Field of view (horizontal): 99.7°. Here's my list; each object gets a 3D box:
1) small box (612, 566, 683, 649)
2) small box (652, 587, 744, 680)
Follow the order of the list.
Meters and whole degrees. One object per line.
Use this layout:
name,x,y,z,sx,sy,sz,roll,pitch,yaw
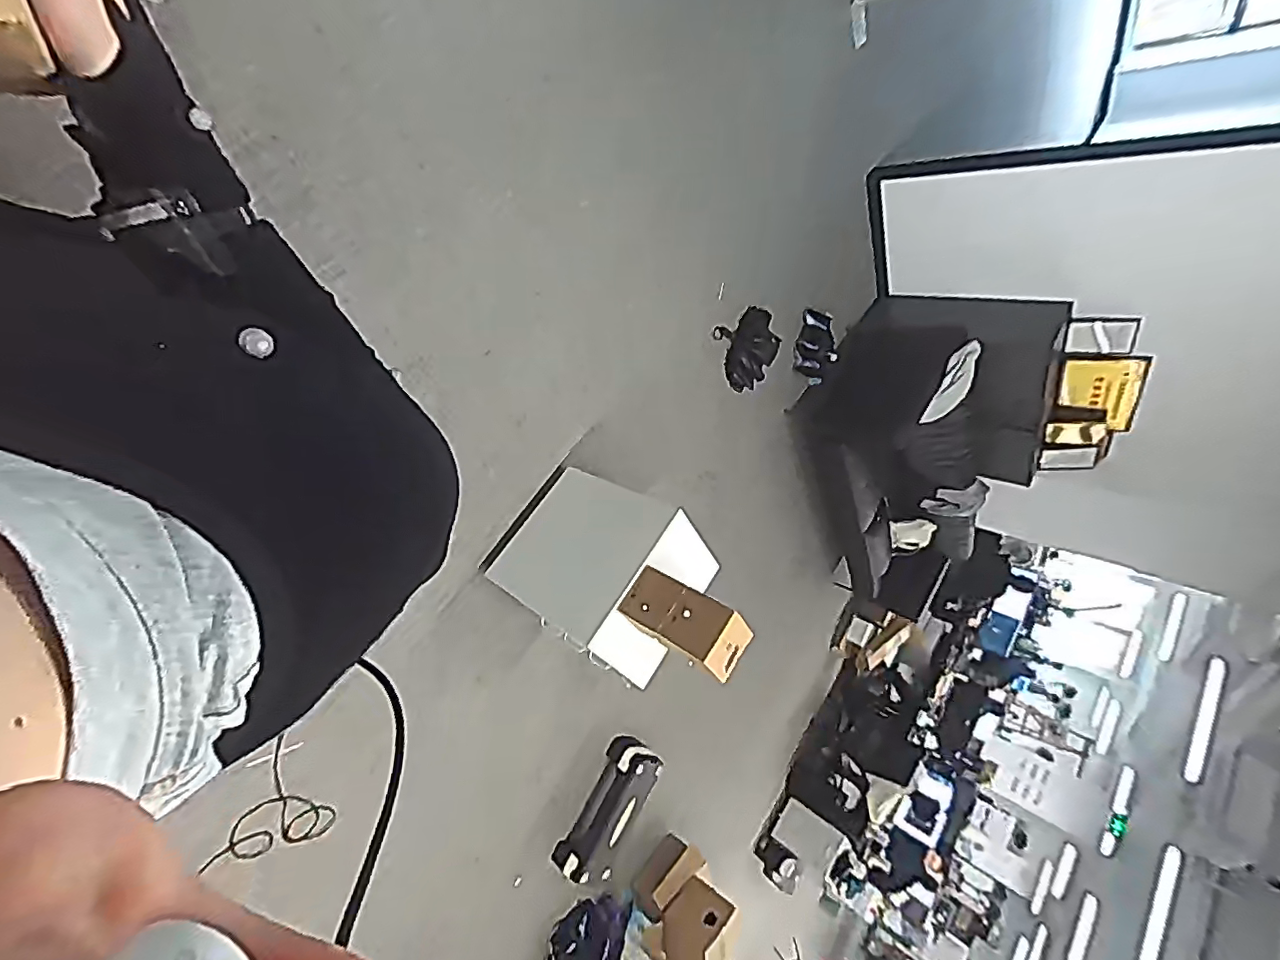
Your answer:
small box,0.045,0.382,1.634,0.168,0.176,0.179,-54,140,-17
small box,0.165,0.431,1.532,0.168,0.176,0.179,-53,138,-18
